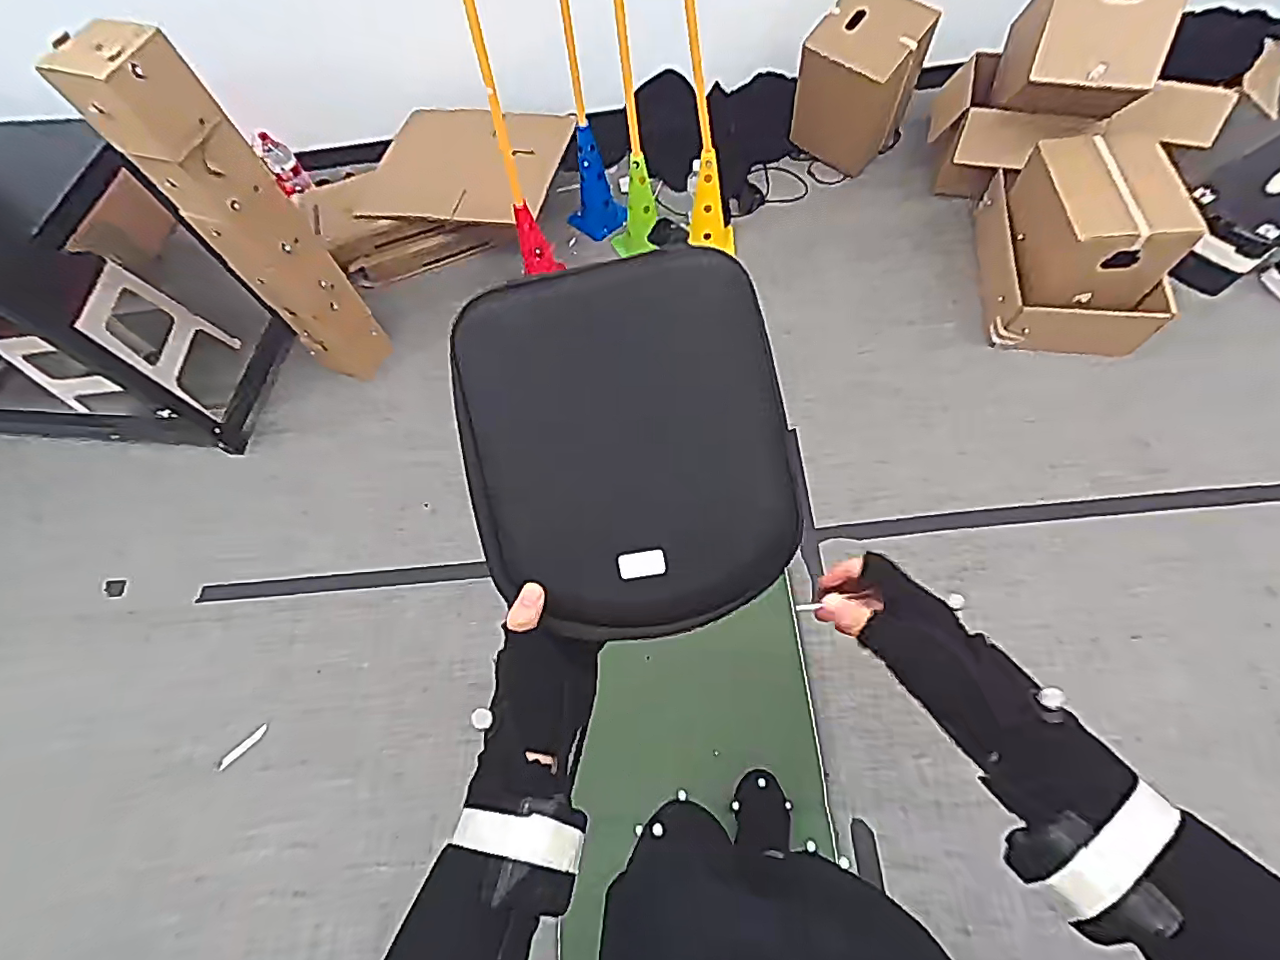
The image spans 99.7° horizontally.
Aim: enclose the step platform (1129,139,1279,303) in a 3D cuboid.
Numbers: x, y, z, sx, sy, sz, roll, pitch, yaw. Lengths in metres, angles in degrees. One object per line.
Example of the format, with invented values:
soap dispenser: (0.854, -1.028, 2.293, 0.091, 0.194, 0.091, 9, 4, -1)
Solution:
step platform: (1.965, -0.855, 1.731, 0.684, 0.204, 0.286, -32, 66, -9)
